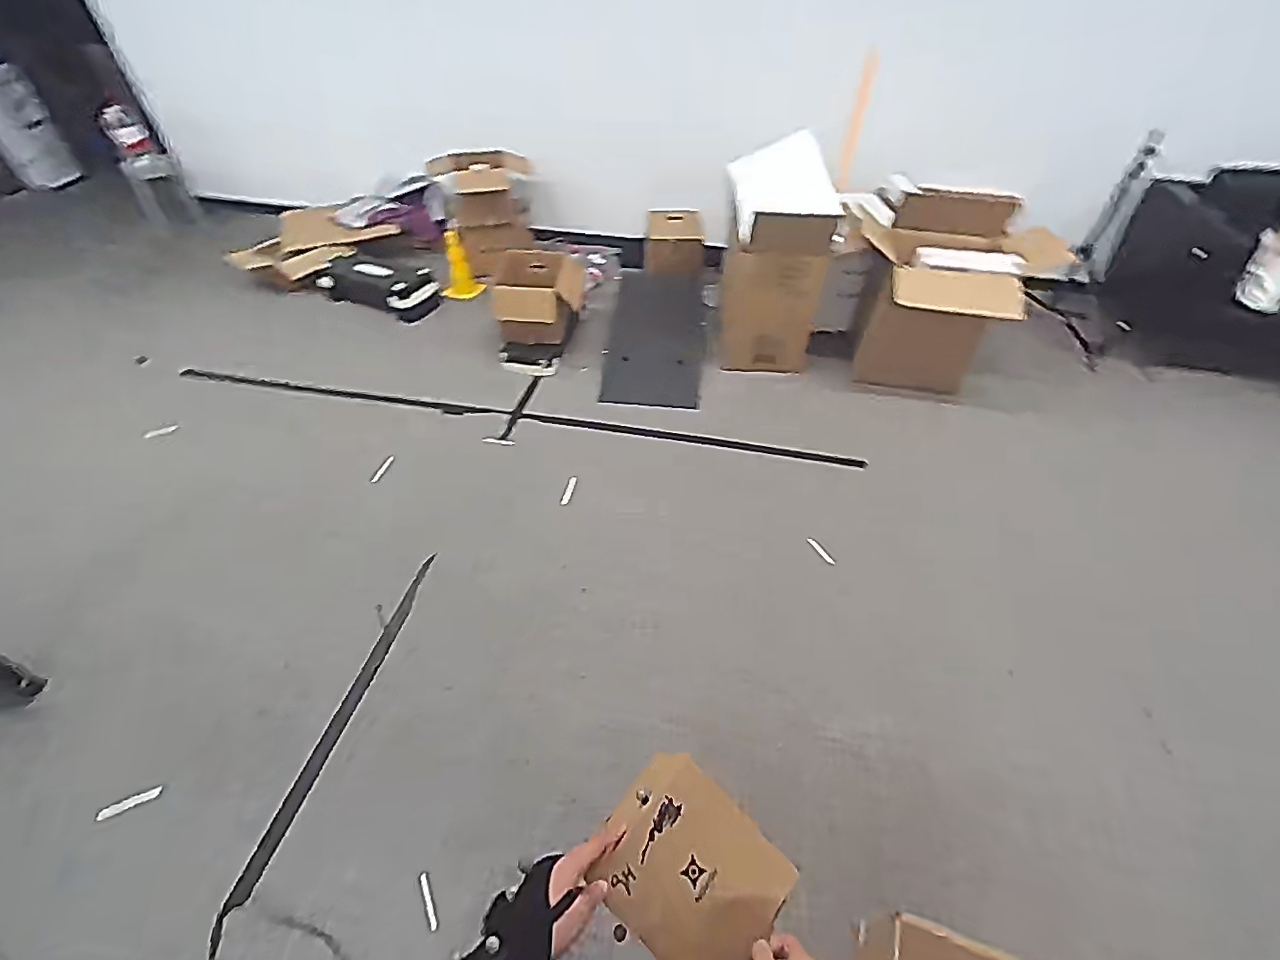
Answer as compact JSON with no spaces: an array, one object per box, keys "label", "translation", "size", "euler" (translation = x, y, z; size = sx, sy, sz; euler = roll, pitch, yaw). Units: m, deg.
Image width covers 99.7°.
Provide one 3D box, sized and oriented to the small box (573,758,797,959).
[{"label":"small box","translation":[0.041,0.454,0.632],"size":[0.179,0.176,0.168],"euler":[42,61,11]}]
